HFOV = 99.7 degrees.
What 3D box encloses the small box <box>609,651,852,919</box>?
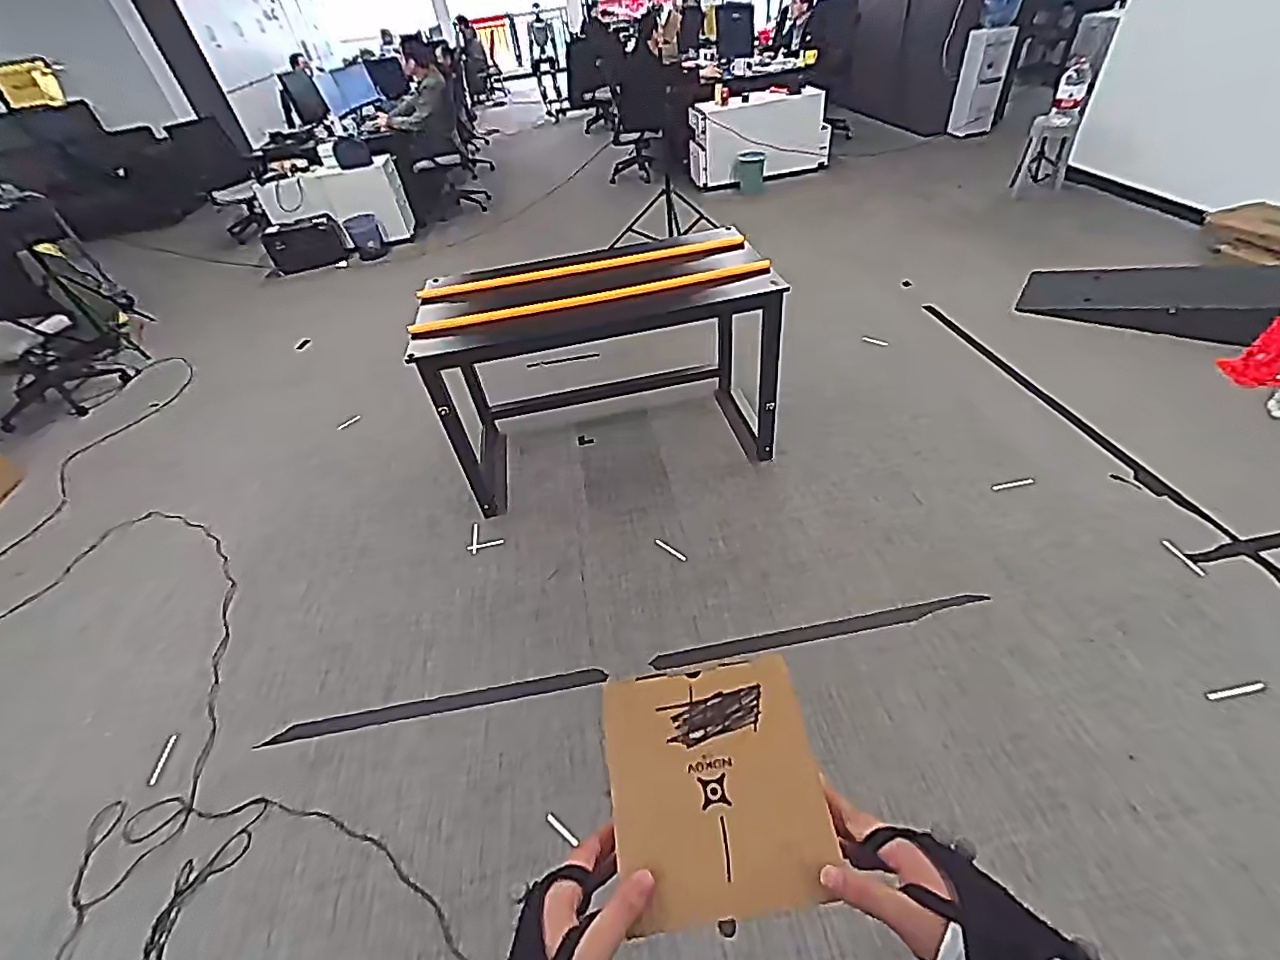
[{"bbox_3d":[0.067,0.280,0.498,0.168,0.176,0.179,-9,54,0],"label":"small box"}]
